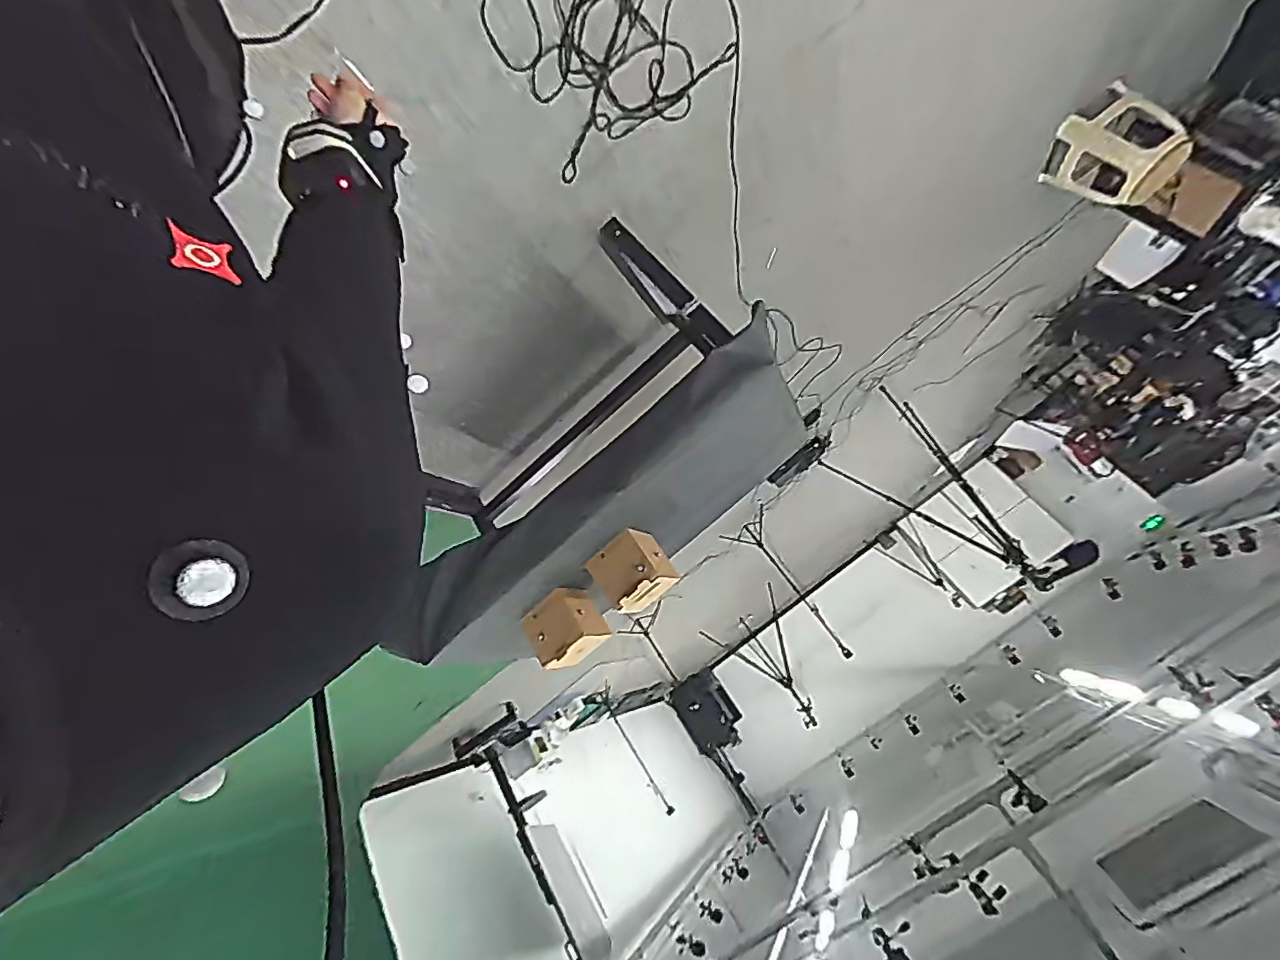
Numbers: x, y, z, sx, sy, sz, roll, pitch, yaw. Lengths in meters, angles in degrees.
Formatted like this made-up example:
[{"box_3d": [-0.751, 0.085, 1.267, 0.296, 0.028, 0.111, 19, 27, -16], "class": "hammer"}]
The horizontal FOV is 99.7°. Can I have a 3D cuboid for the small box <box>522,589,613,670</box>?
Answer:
[{"box_3d": [-0.218, 0.439, 1.608, 0.168, 0.176, 0.179, -41, 155, 12], "class": "small box"}]
